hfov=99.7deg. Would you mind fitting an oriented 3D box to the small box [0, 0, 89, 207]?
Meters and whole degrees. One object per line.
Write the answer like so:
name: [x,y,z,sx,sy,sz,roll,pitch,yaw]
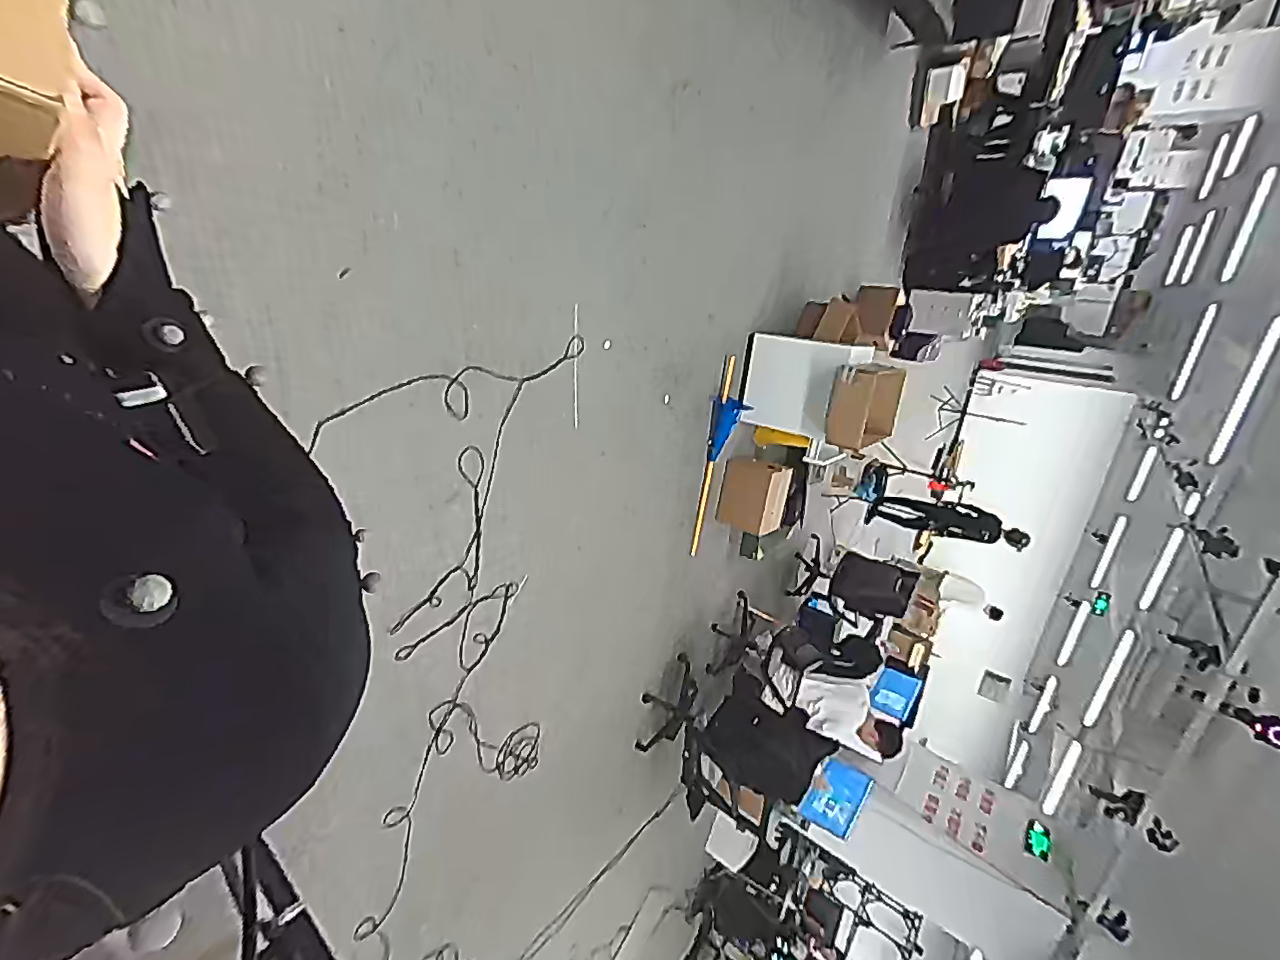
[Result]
small box: [-0.386,-0.265,0.249,0.168,0.176,0.179,0,88,-54]
